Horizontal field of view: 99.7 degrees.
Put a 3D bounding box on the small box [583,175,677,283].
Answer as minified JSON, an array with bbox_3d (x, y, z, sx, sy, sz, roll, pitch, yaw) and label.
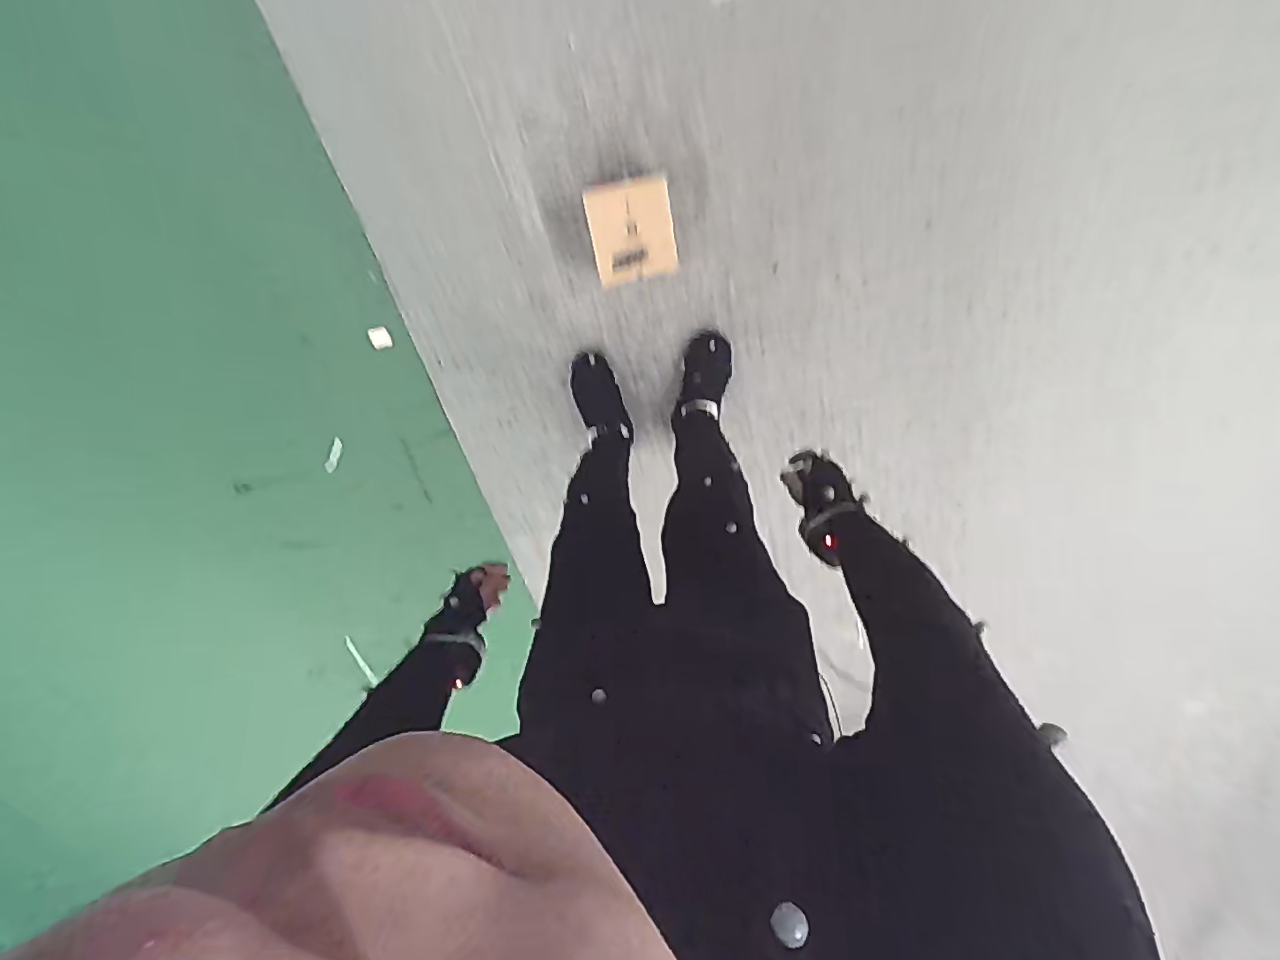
[{"bbox_3d":[-0.018,-0.529,1.137,0.168,0.176,0.179,-9,117,3],"label":"small box"}]
